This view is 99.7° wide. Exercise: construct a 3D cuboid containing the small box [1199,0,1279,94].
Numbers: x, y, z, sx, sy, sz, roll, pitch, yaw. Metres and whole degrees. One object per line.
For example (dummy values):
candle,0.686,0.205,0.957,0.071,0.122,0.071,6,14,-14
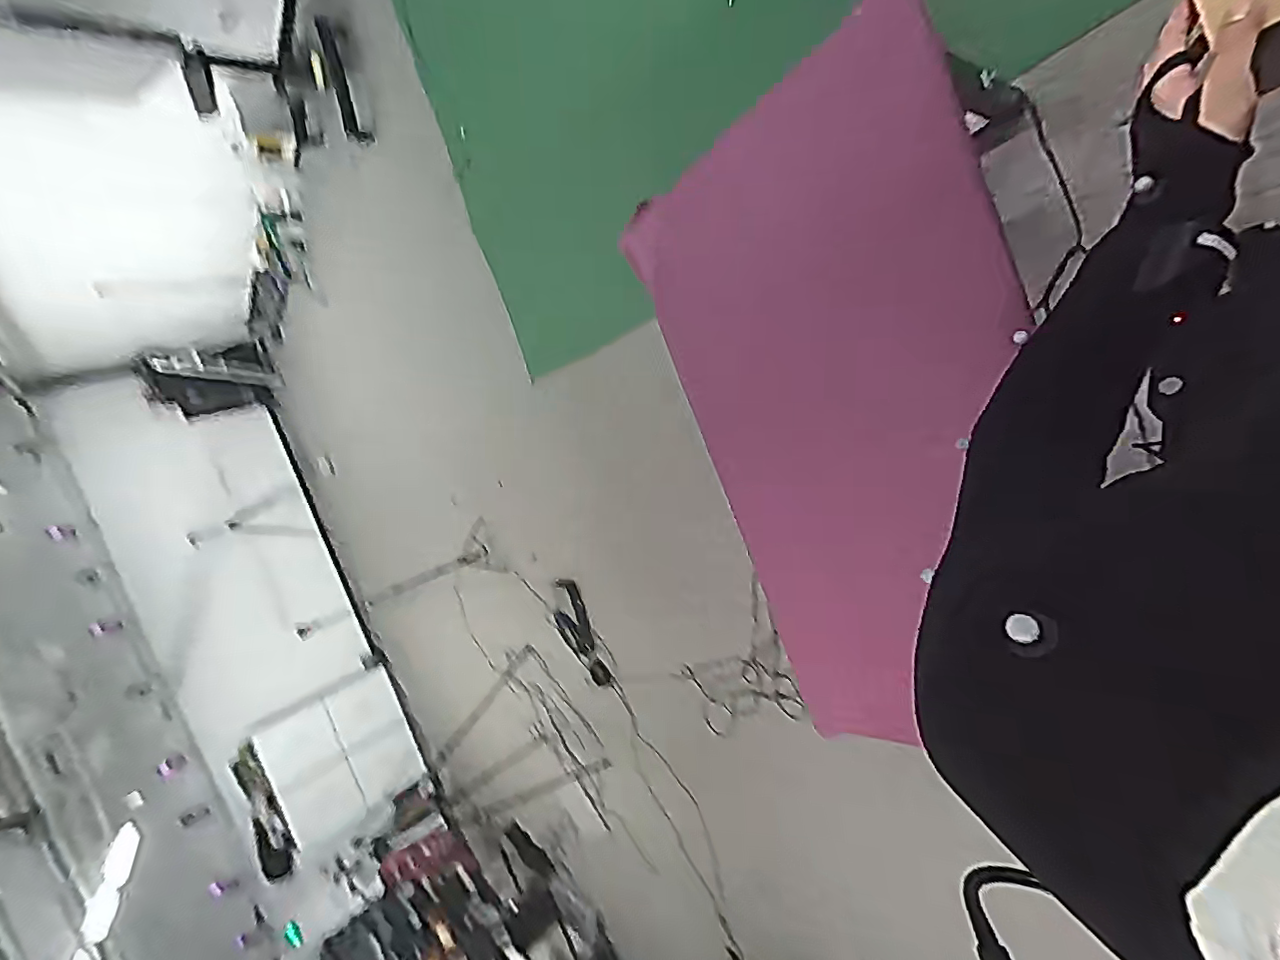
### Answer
small box,0.531,-0.438,0.402,0.168,0.176,0.179,-16,89,52
